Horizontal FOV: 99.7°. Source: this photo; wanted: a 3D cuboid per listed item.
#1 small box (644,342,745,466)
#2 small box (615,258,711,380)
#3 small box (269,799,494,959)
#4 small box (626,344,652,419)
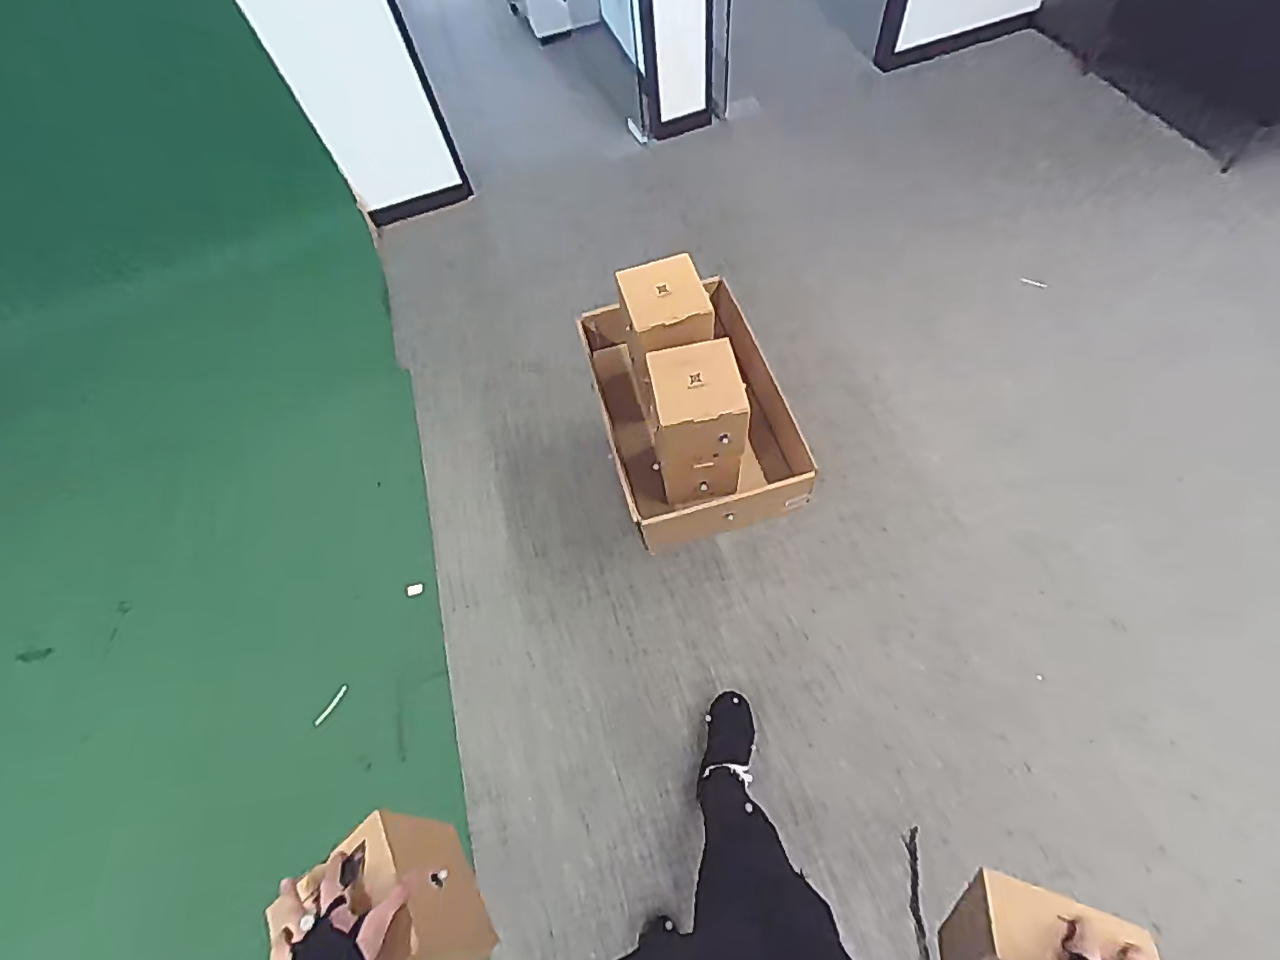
[{"bbox_3d":[0.106,-0.141,1.076,0.168,0.176,0.179,-10,61,0],"label":"small box"},{"bbox_3d":[0.049,-0.350,1.196,0.168,0.176,0.179,-16,64,-3],"label":"small box"},{"bbox_3d":[-0.321,0.551,0.686,0.168,0.176,0.179,-41,50,-11],"label":"small box"},{"bbox_3d":[0.064,-0.279,1.341,0.168,0.176,0.179,-16,63,-2],"label":"small box"}]
